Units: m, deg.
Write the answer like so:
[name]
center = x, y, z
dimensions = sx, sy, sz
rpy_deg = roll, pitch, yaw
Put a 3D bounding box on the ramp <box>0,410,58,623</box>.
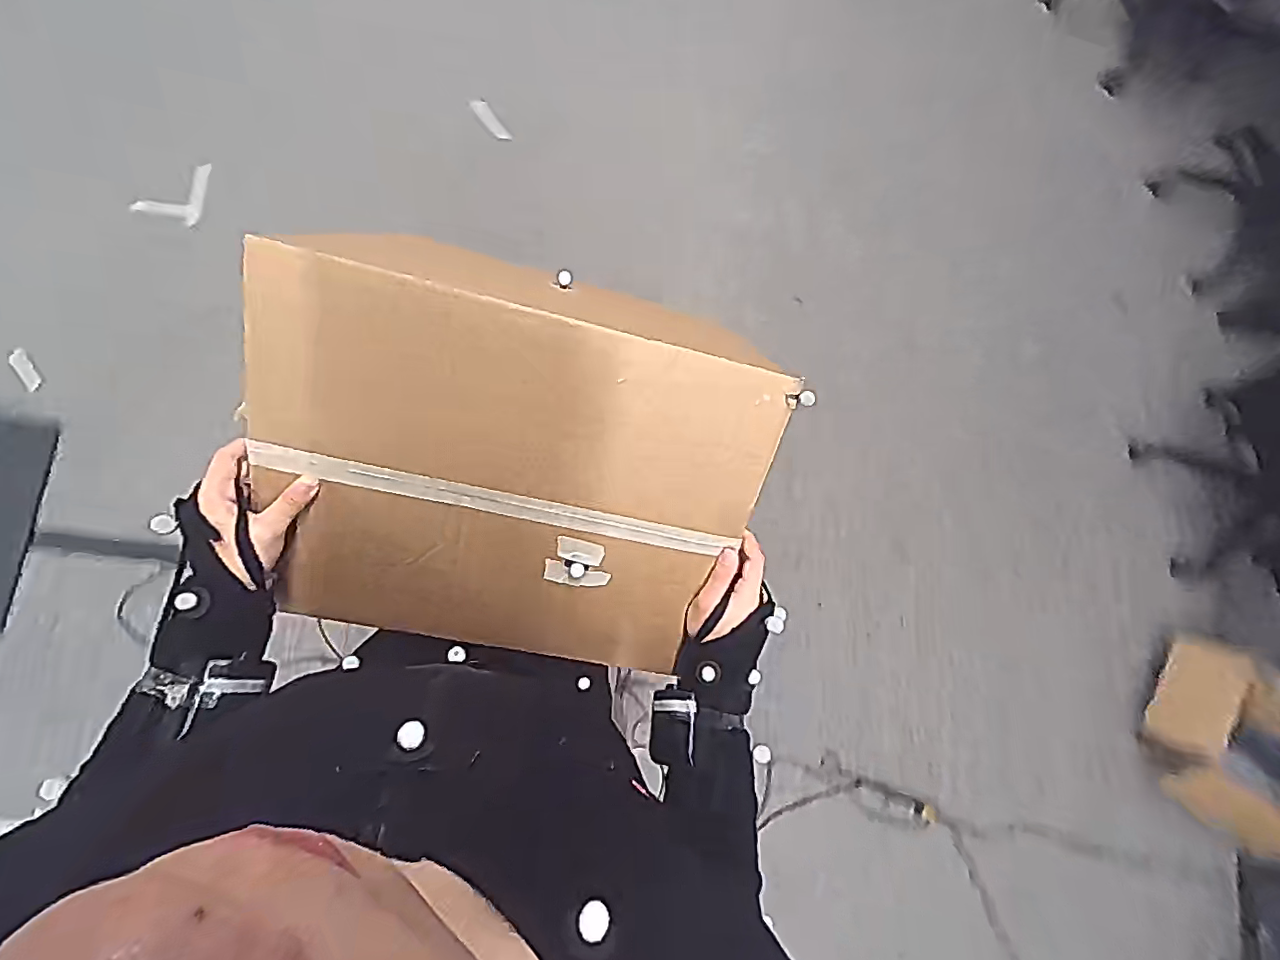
[ramp]
center = -1.869, 0.018, 1.095
dimensions = 0.991, 0.206, 0.509
rpy_deg = 6, 80, -8
